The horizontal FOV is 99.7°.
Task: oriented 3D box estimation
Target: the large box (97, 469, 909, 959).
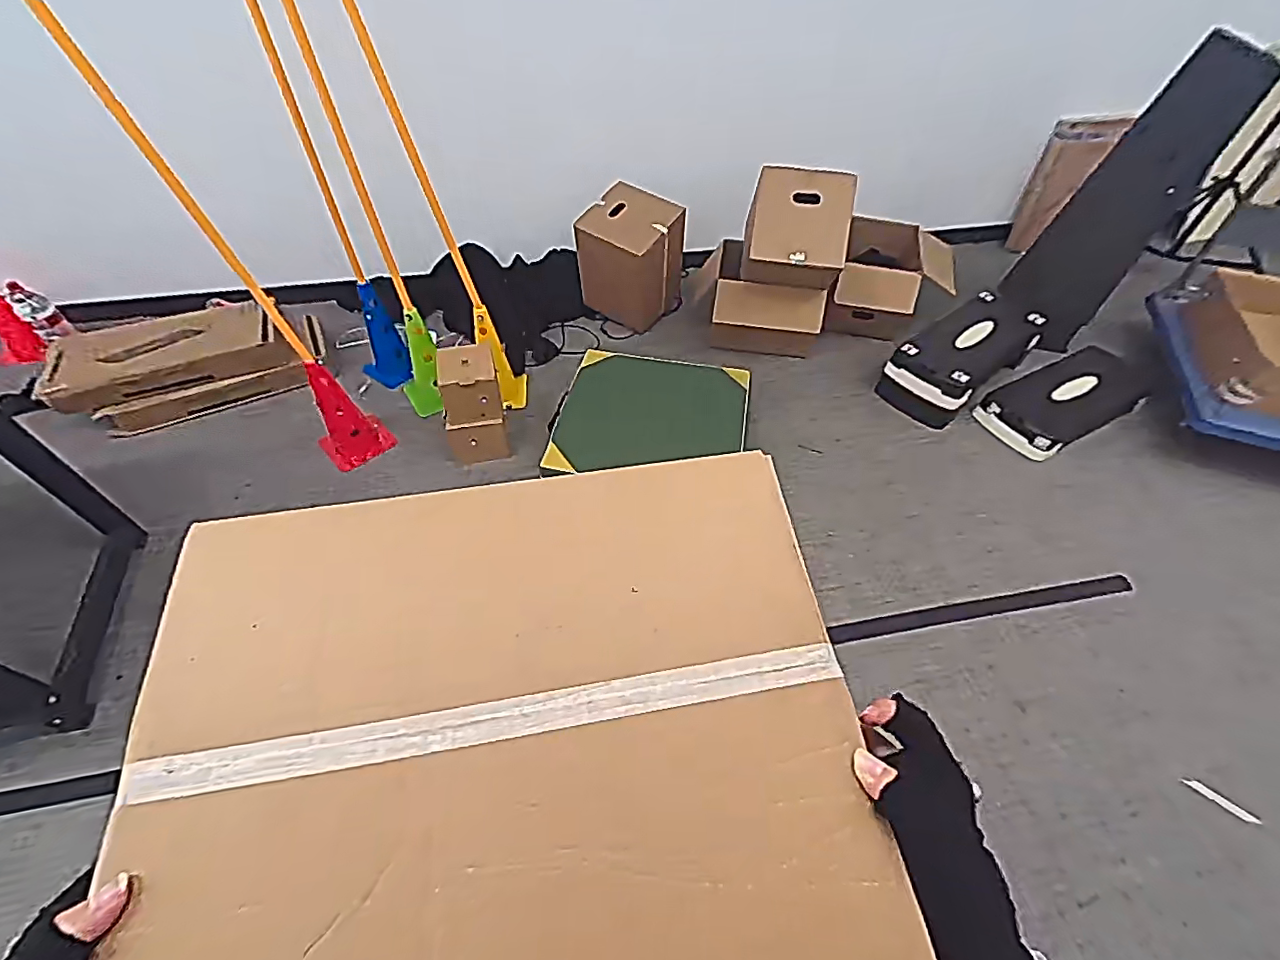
[{"bbox_3d":[-0.084,0.222,0.450,0.408,0.320,0.320,-8,60,-5],"label":"large box"}]
